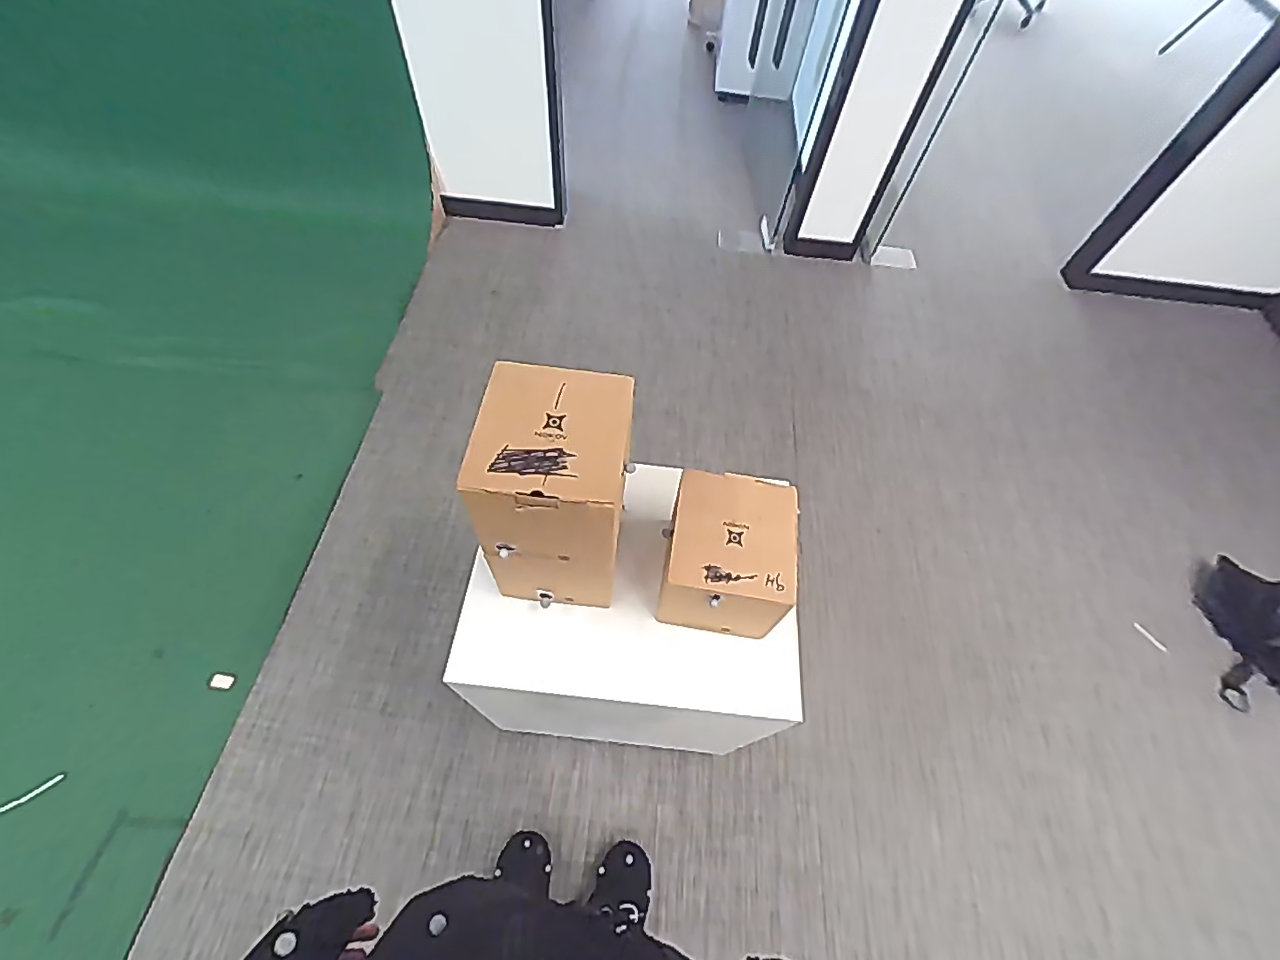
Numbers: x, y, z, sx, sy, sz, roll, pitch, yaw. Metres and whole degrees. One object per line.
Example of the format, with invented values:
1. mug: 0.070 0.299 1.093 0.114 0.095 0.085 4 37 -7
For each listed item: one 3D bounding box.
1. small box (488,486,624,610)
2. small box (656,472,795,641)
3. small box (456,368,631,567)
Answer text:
1. small box: -0.114 0.077 0.801 0.168 0.176 0.179 5 60 0
2. small box: 0.120 0.116 0.793 0.168 0.176 0.179 10 58 2
3. small box: -0.104 -0.009 0.661 0.168 0.176 0.179 7 58 0
